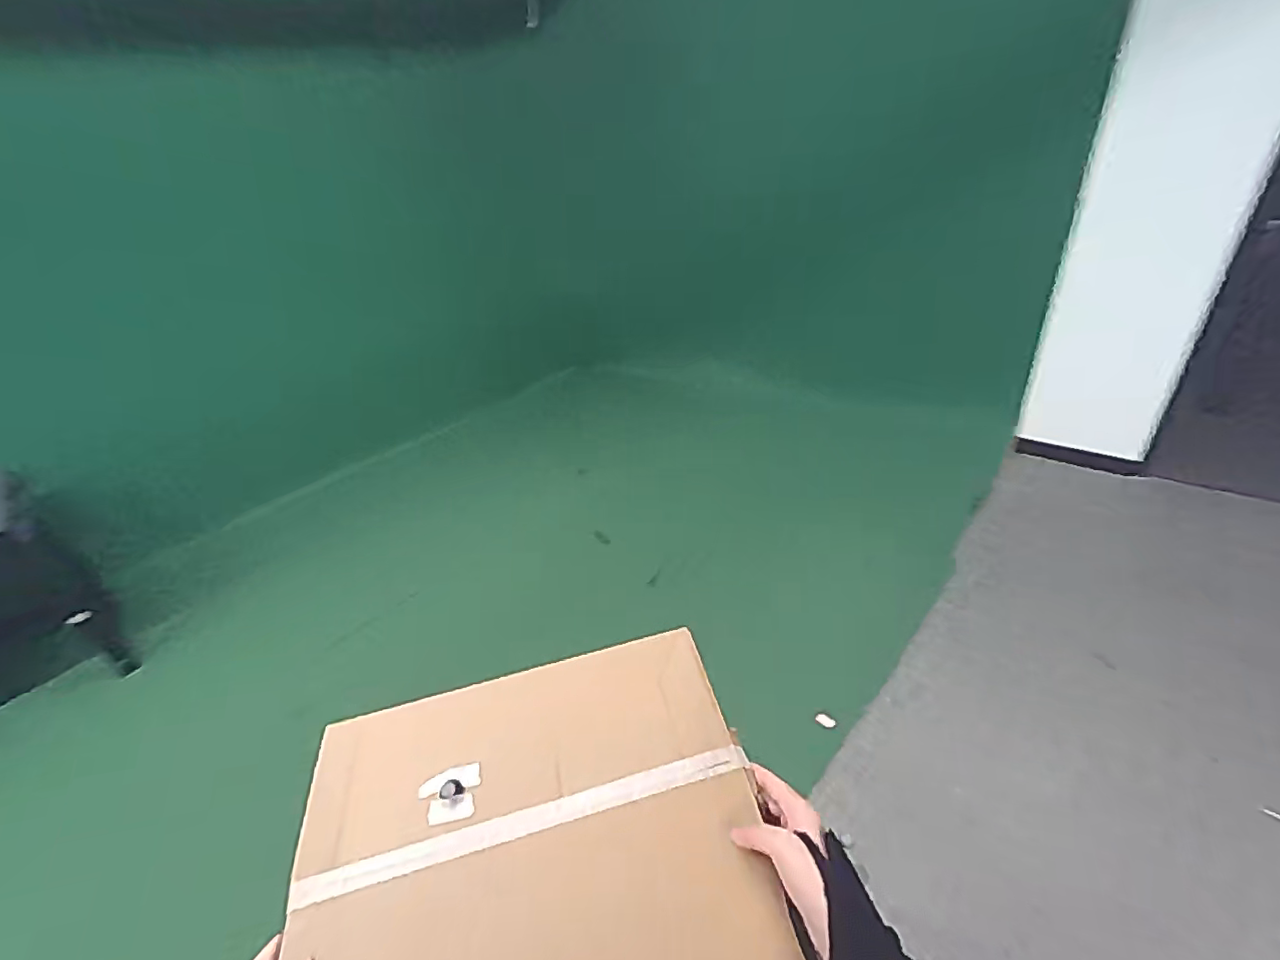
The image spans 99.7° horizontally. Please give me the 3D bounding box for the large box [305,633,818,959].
[{"bbox_3d":[-0.071,0.430,0.590,0.408,0.320,0.320,-14,40,-5],"label":"large box"}]
